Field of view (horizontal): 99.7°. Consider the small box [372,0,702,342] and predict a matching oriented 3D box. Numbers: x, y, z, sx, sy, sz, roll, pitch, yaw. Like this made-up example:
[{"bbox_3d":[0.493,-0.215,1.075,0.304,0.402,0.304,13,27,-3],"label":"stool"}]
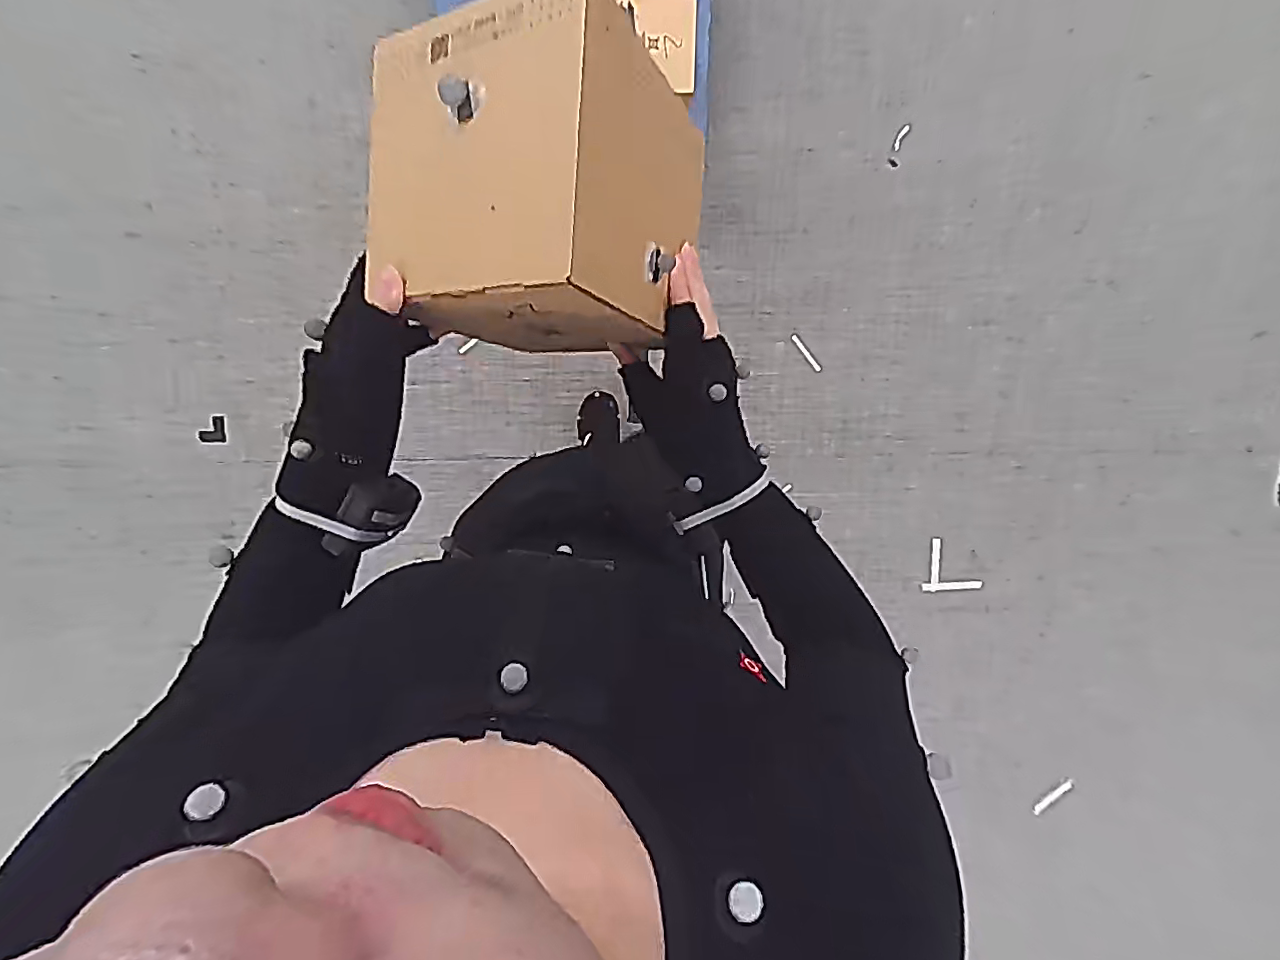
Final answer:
[{"bbox_3d":[-0.061,-0.202,0.391,0.168,0.179,0.176,5,93,27],"label":"small box"}]
